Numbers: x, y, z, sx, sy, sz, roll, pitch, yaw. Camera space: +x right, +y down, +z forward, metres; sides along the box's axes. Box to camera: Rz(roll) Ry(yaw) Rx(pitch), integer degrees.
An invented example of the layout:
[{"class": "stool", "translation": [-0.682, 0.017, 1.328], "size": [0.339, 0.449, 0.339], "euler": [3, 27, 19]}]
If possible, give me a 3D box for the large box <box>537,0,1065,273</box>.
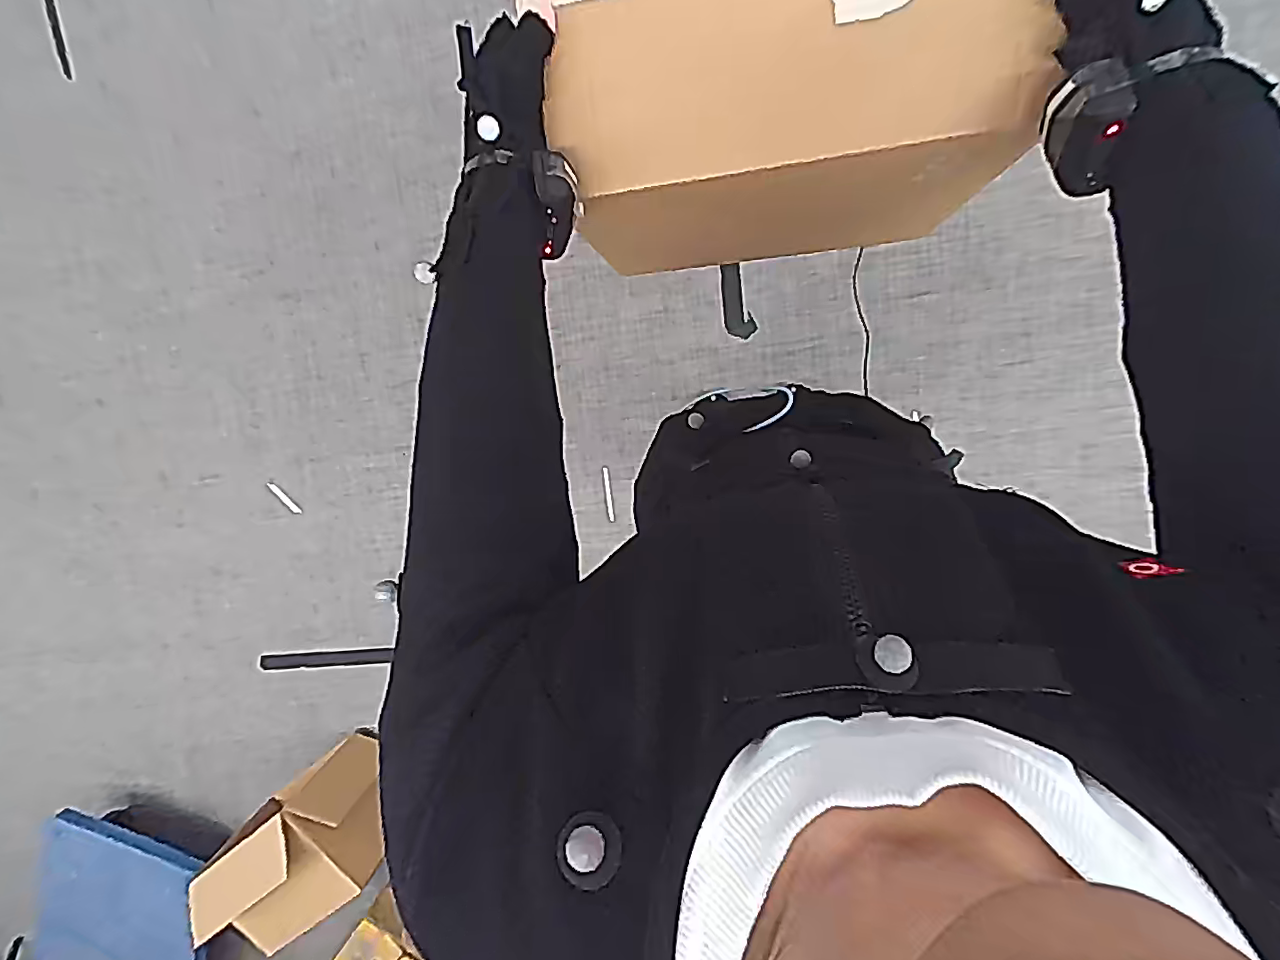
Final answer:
[{"class": "large box", "translation": [0.129, -0.434, 0.564], "size": [0.408, 0.320, 0.320], "euler": [-4, 99, 10]}]
